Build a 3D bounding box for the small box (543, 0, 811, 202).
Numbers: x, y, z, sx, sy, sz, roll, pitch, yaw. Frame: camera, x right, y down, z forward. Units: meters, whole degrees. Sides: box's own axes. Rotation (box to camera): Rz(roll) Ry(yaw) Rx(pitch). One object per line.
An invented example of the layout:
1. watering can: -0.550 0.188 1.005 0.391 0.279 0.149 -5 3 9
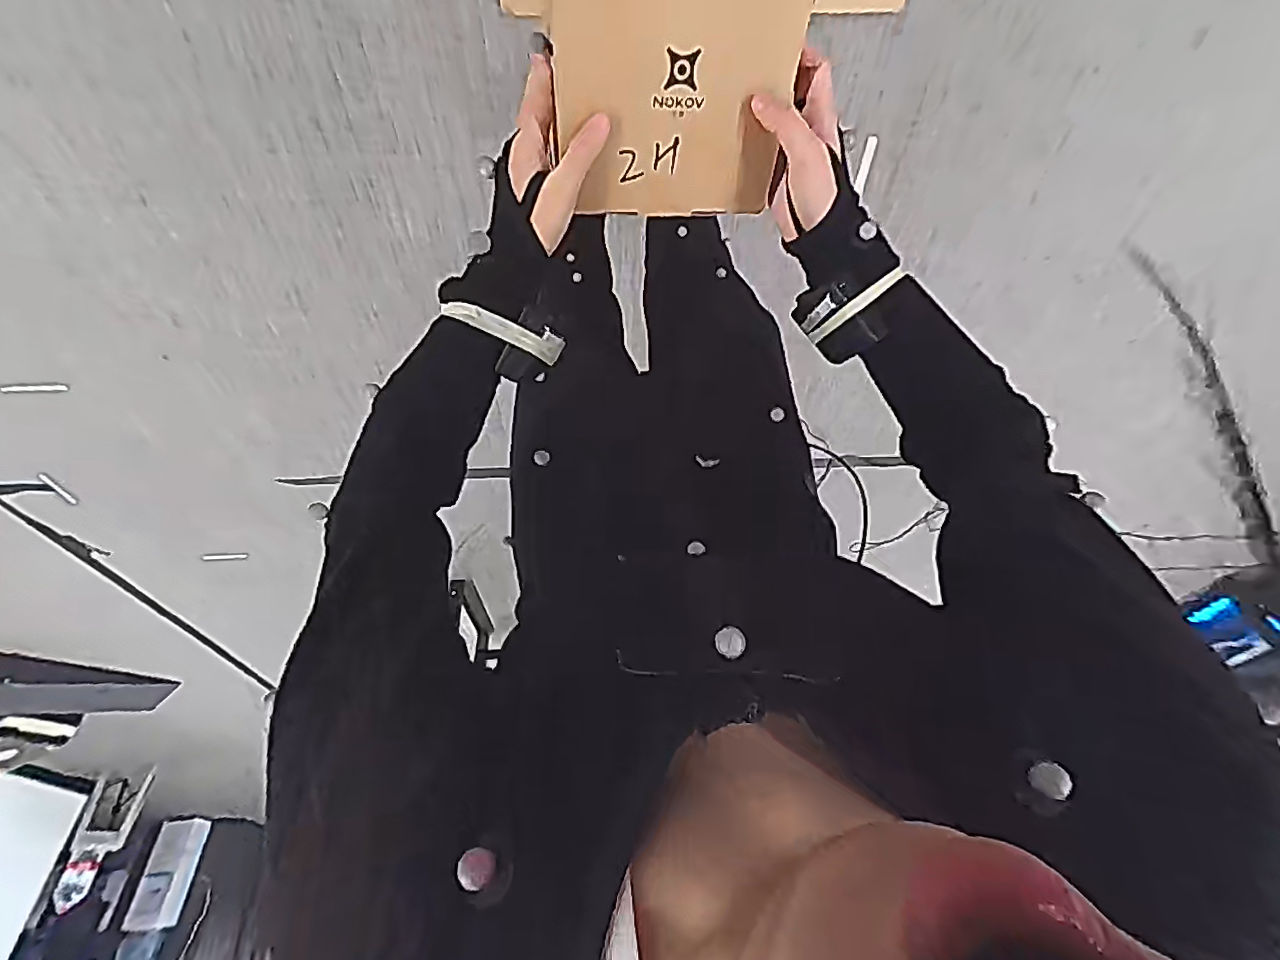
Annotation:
1. small box: 0.013 -0.338 0.413 0.168 0.176 0.179 -4 141 -9
